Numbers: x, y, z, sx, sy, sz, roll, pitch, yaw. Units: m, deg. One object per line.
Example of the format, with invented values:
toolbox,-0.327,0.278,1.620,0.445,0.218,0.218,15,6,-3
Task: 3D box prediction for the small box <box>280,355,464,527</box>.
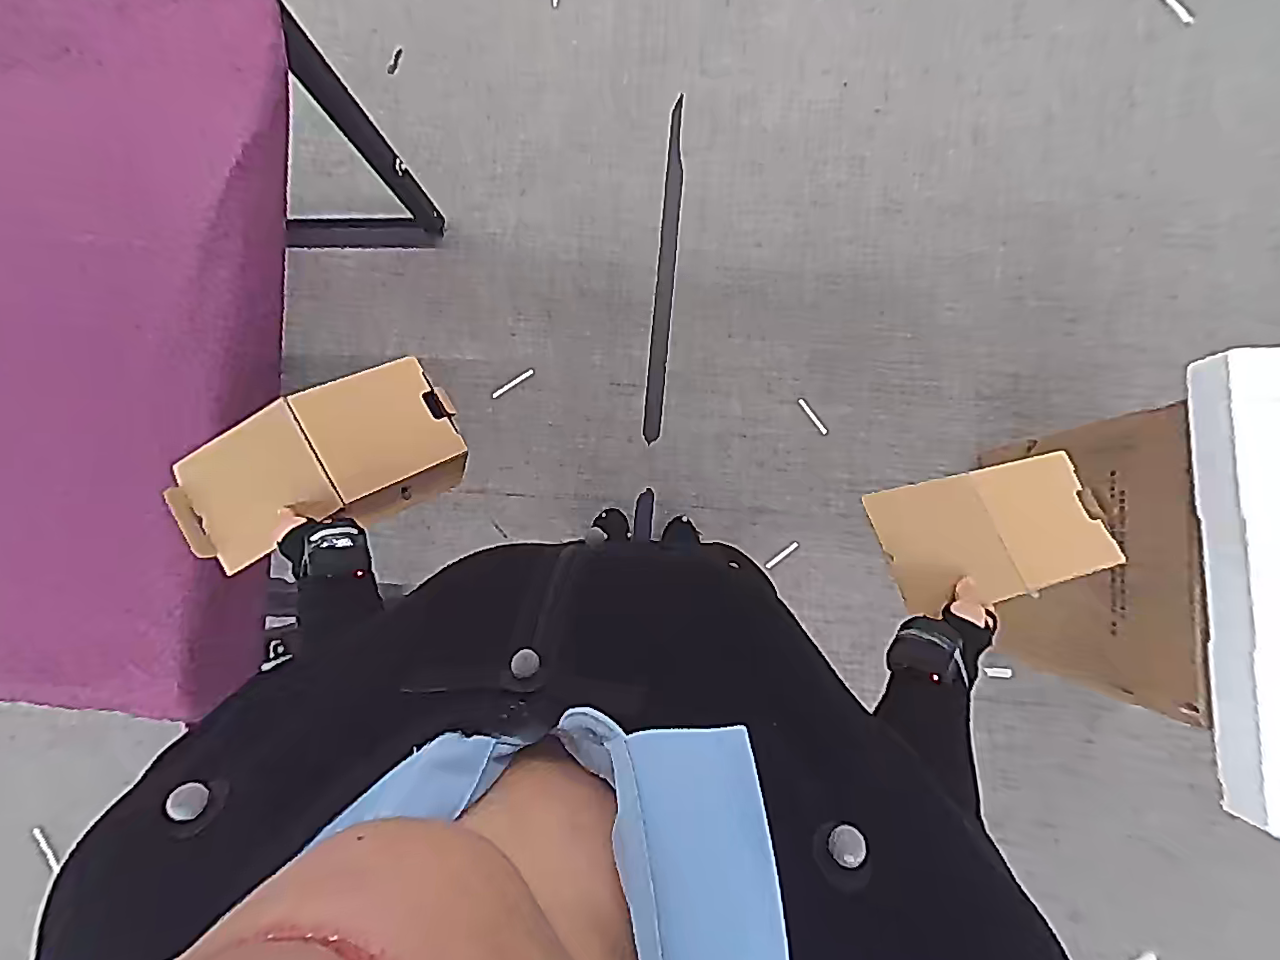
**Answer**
small box,-0.378,-0.049,0.788,0.179,0.176,0.168,-29,86,-28
